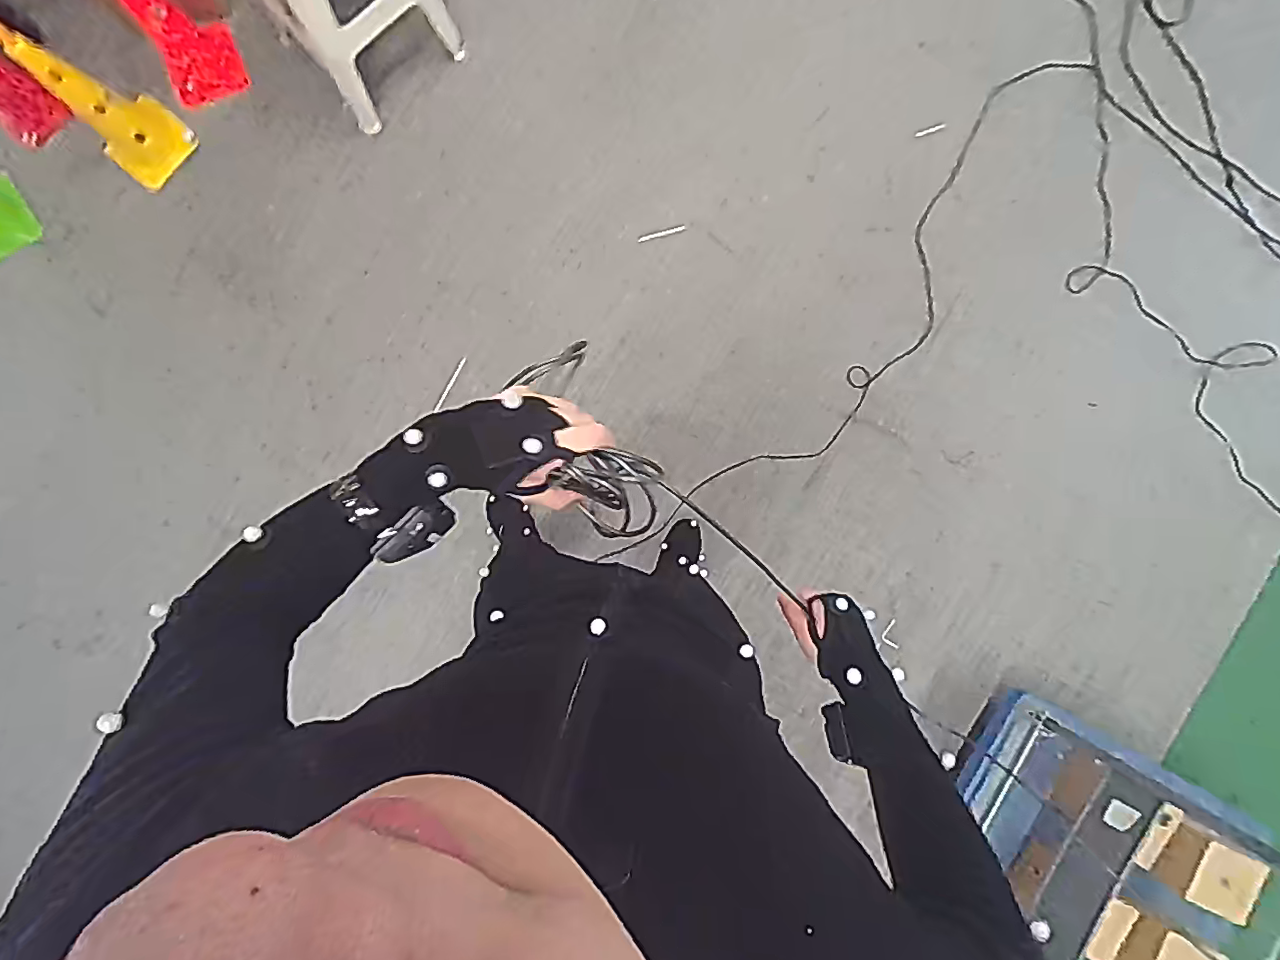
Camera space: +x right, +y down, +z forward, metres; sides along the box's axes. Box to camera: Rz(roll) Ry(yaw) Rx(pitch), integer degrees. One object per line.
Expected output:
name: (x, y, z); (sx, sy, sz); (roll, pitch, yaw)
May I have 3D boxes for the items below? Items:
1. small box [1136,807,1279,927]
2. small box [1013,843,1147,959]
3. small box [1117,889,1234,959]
small box: (1.483, 1.007, 1.426); (0.179, 0.176, 0.168); (25, 90, -2)
small box: (1.141, 1.104, 1.414); (0.179, 0.176, 0.168); (30, 89, -1)
small box: (1.377, 1.235, 1.423); (0.179, 0.176, 0.168); (25, 89, -1)
